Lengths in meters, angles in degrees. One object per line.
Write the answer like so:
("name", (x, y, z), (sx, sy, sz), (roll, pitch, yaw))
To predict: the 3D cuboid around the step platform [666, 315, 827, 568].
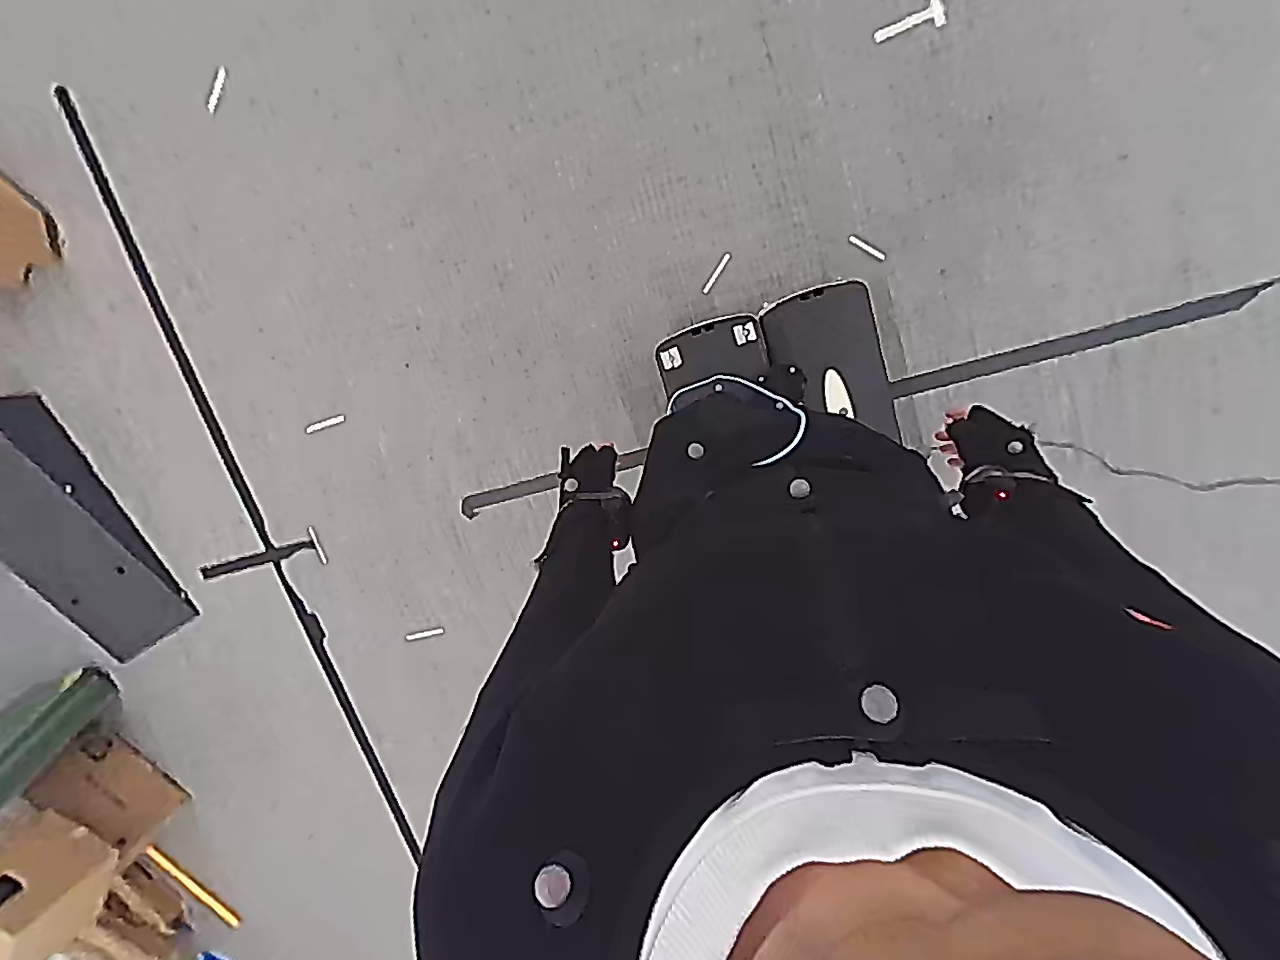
("step platform", (0.298, -0.099, 1.508), (0.286, 0.204, 0.684), (-17, 99, 12))
